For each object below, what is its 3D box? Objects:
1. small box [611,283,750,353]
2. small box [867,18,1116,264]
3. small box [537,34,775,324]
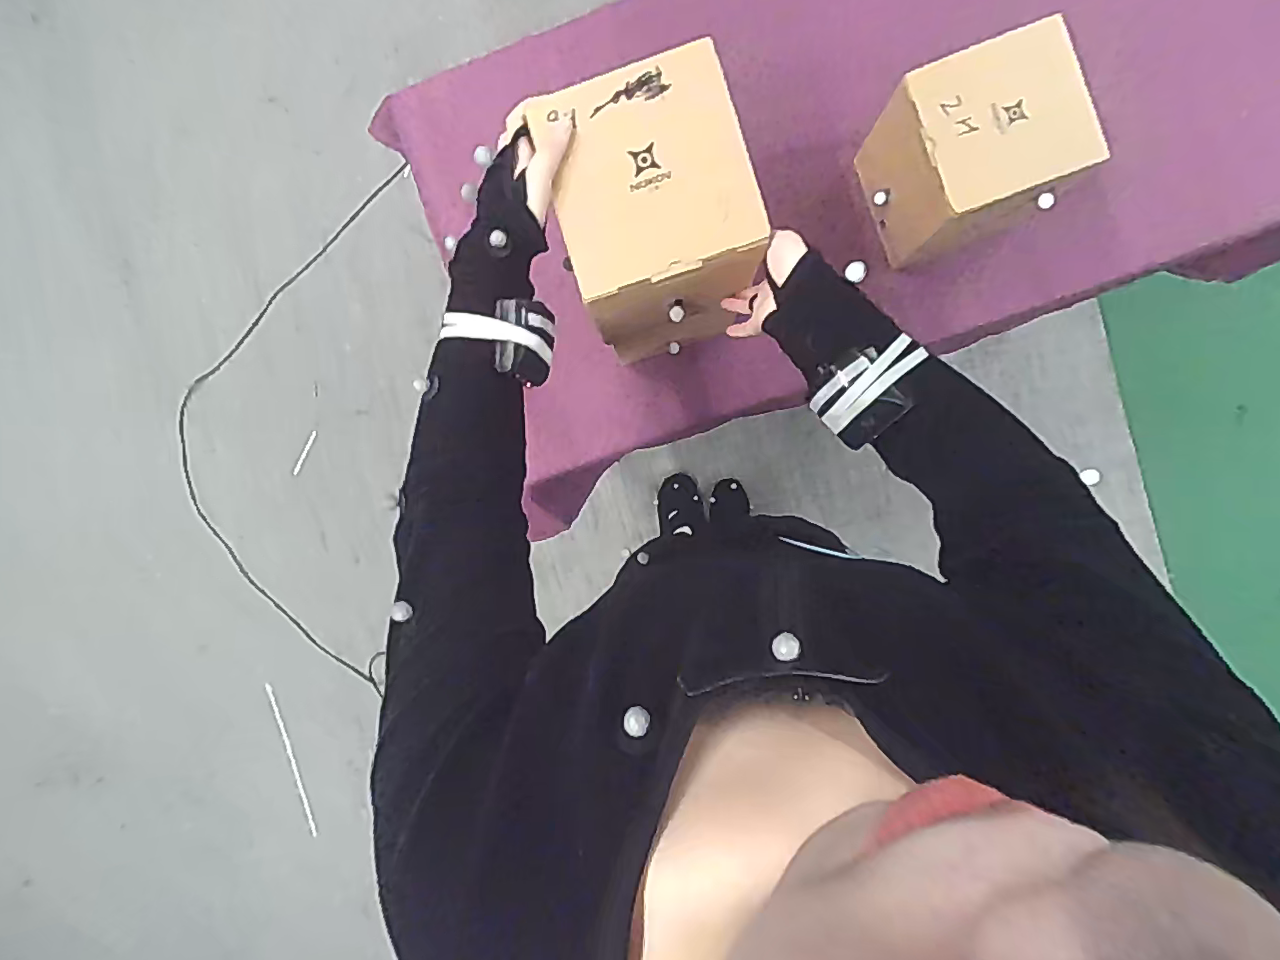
[{"bbox_3d":[0.029,-0.279,0.691,0.168,0.176,0.179,-16,92,4],"label":"small box"},{"bbox_3d":[0.410,-0.393,0.662,0.179,0.176,0.168,-18,91,4],"label":"small box"},{"bbox_3d":[0.018,-0.264,0.528,0.168,0.176,0.179,-15,92,4],"label":"small box"}]
